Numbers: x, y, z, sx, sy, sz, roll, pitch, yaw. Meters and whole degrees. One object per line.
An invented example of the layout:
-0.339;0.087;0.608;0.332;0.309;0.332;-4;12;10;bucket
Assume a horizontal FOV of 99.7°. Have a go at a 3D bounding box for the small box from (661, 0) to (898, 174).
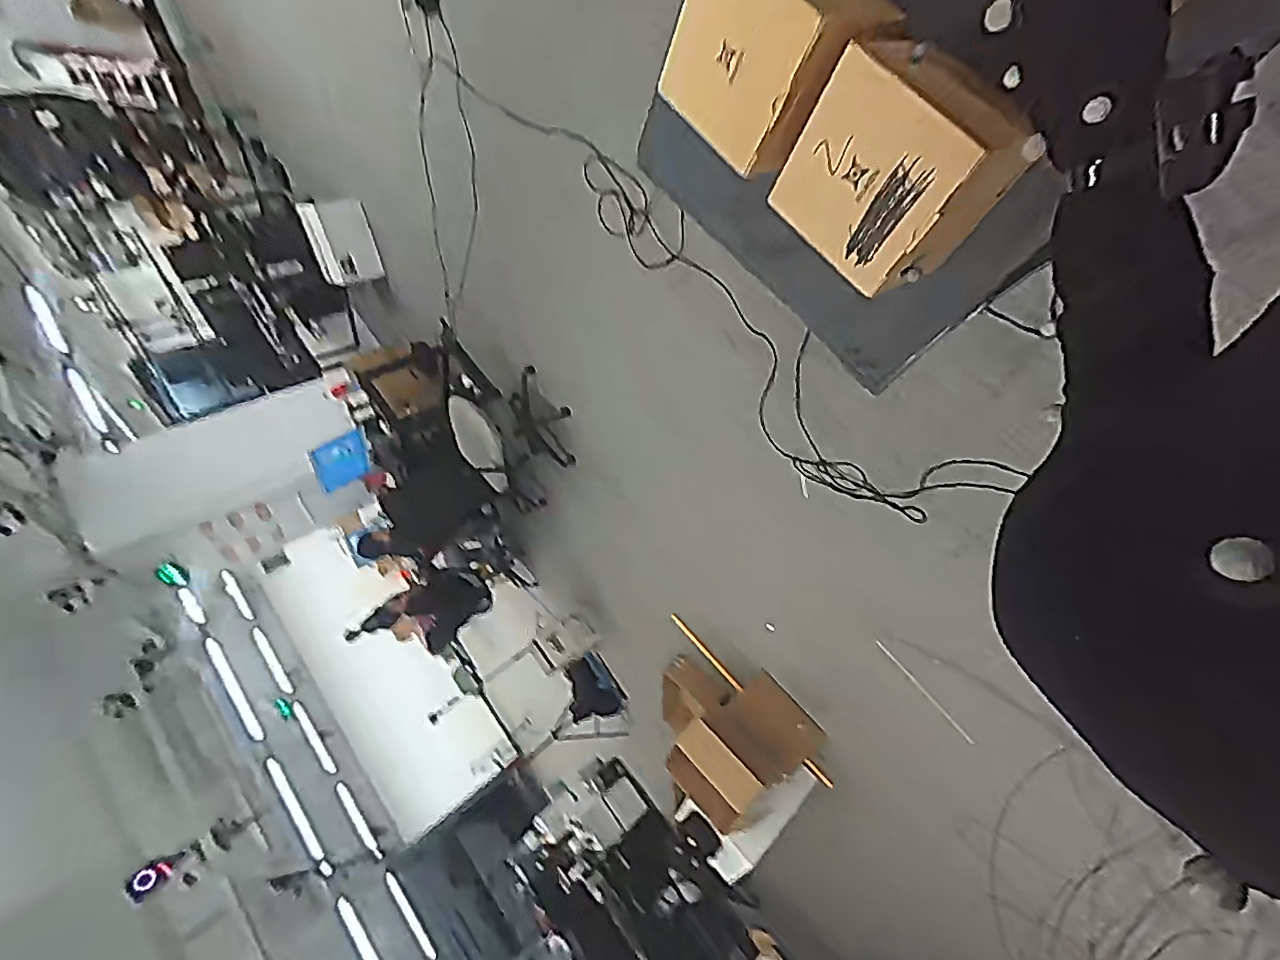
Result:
0.161;-0.506;0.649;0.179;0.176;0.168;51;148;12;small box
